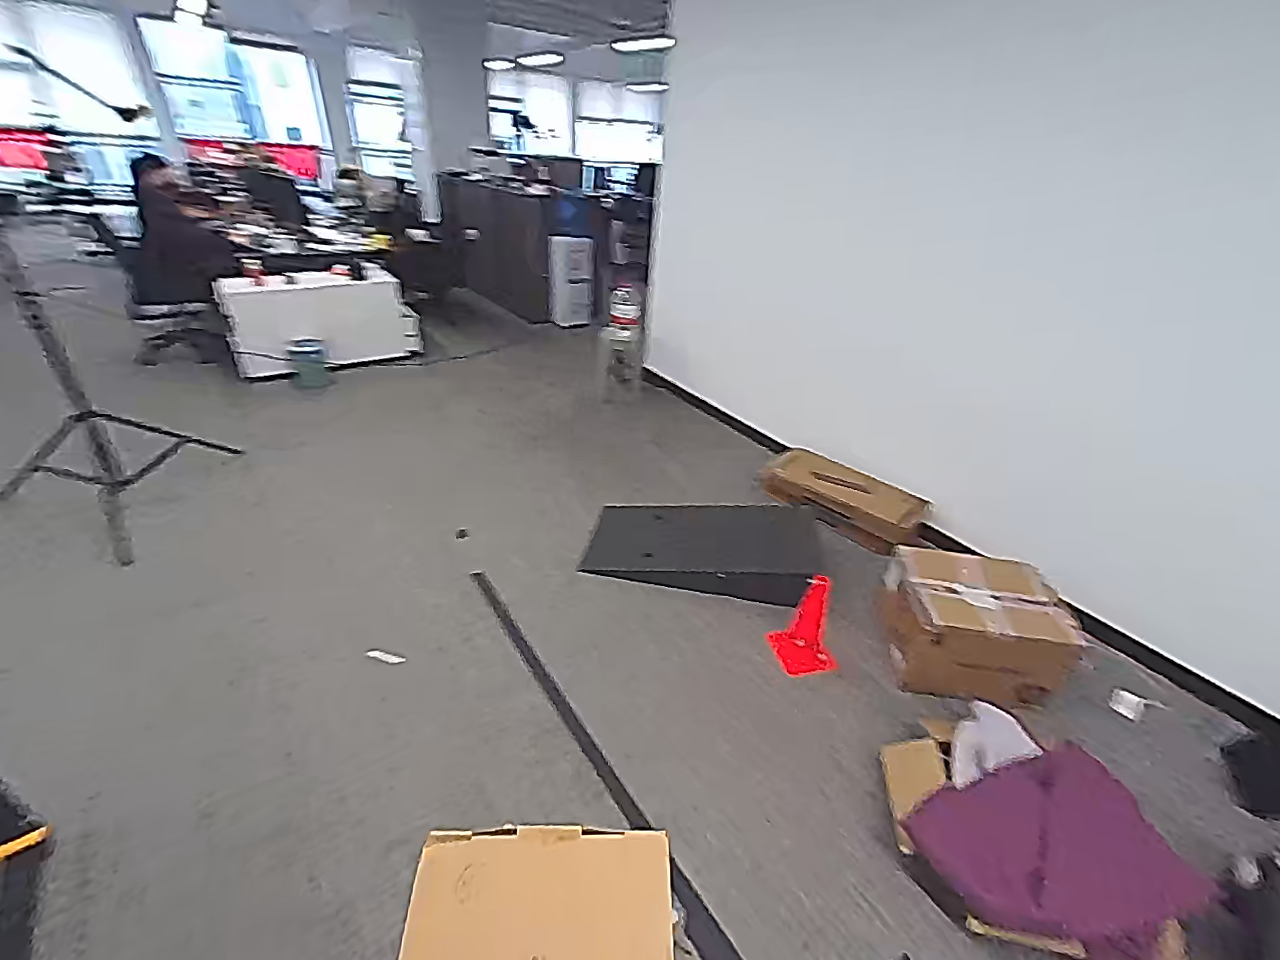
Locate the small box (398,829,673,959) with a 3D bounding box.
[{"bbox_3d":[-0.068,0.355,0.364,0.168,0.176,0.179,1,48,-6],"label":"small box"}]
